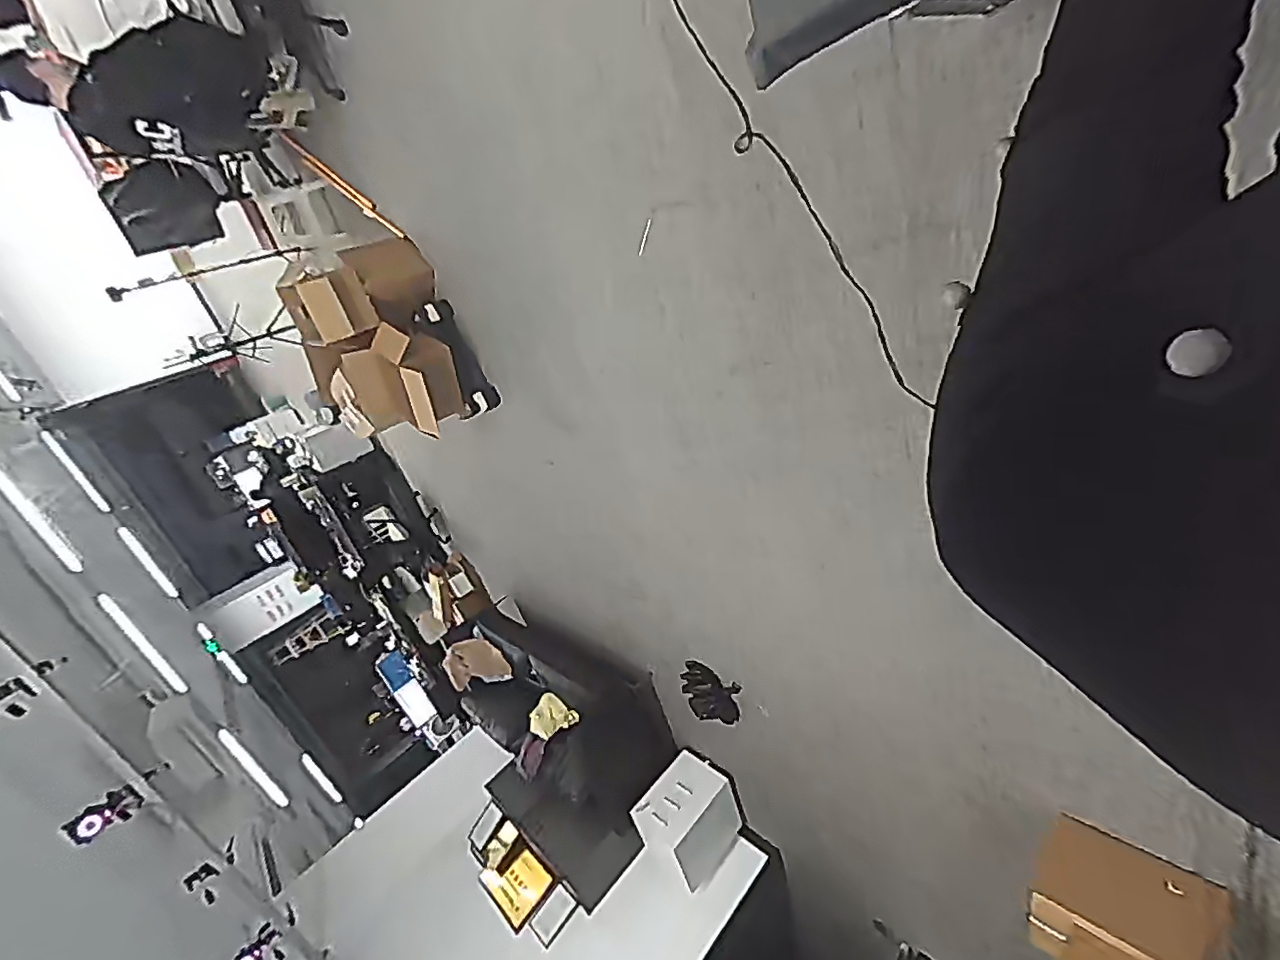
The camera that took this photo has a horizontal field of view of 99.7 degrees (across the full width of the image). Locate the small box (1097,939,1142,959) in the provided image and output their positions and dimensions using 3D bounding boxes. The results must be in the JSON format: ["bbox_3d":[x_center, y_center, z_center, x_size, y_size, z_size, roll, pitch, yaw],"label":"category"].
[{"bbox_3d":[1.368,1.440,1.491,0.179,0.176,0.168,10,125,51],"label":"small box"}]
